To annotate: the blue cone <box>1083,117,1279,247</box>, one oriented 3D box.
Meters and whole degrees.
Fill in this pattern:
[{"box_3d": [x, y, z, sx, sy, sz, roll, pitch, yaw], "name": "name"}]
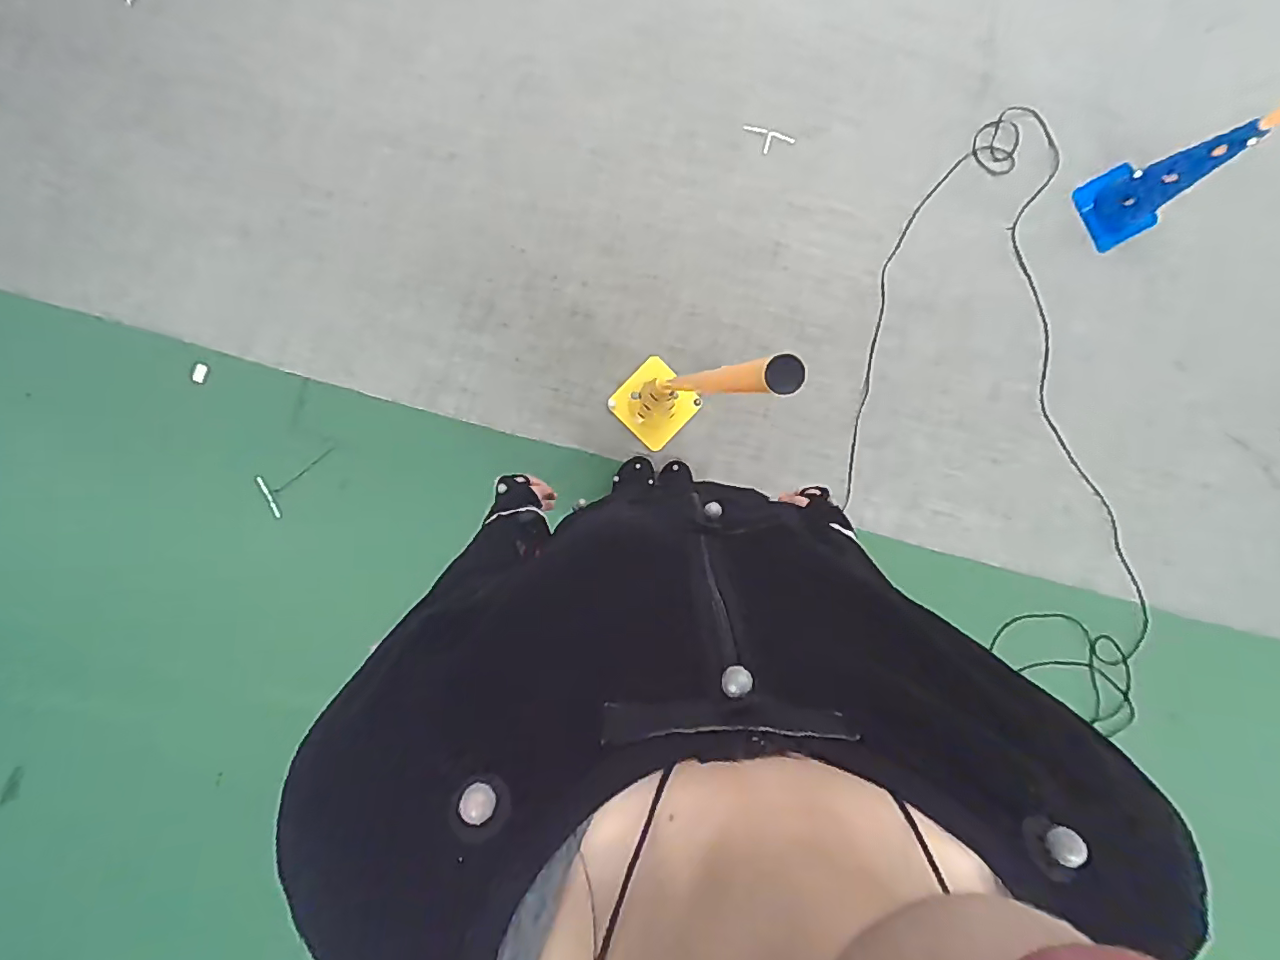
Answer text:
[{"box_3d": [1.372, -0.781, 1.367, 0.193, 0.380, 0.192, -30, 91, -4], "name": "blue cone"}]
